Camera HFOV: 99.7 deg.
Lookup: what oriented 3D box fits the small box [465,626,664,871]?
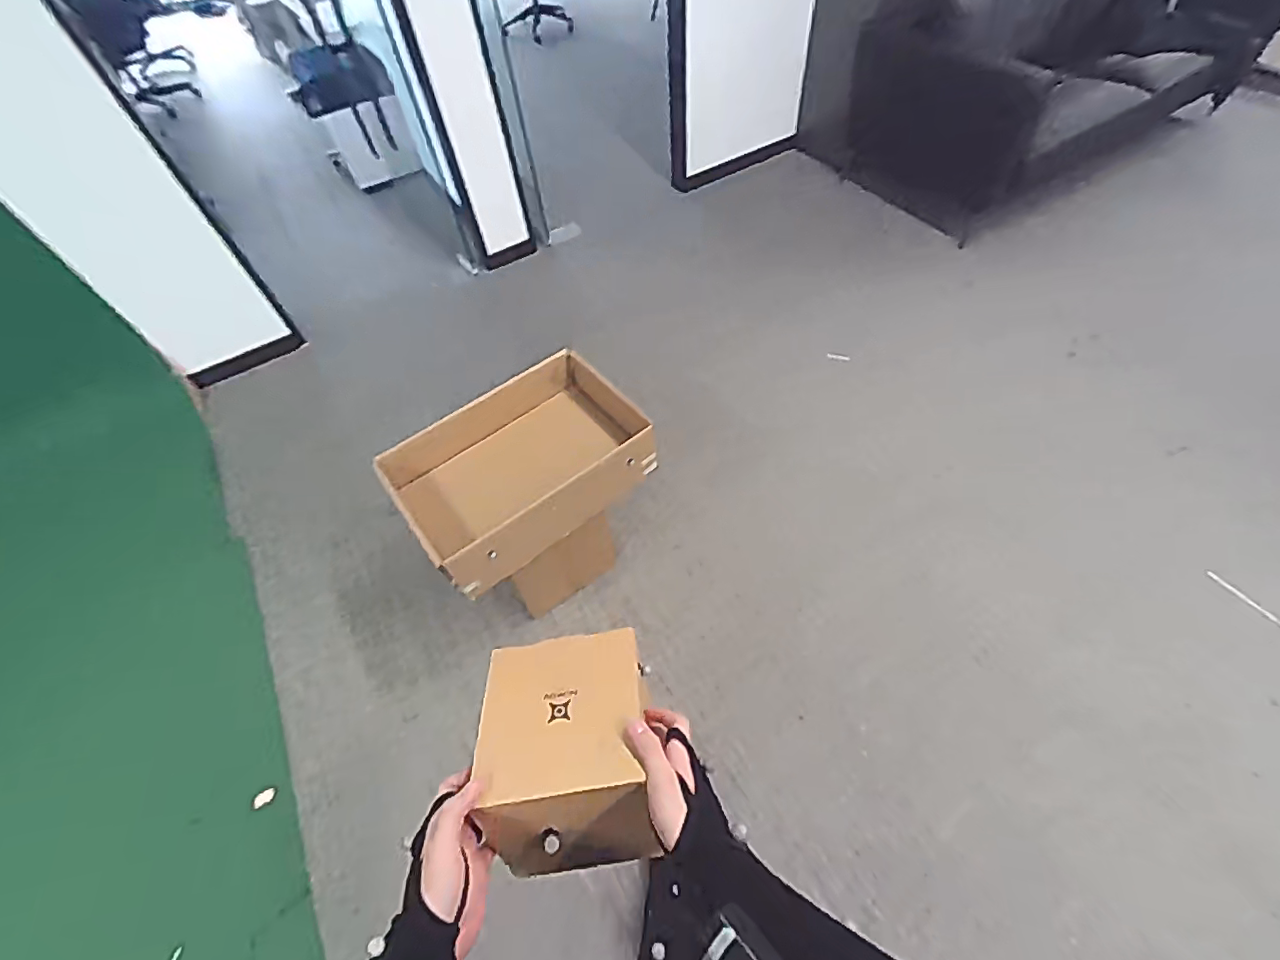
[{"bbox_3d":[-0.070,0.290,0.584,0.168,0.176,0.179,-9,34,0],"label":"small box"}]
